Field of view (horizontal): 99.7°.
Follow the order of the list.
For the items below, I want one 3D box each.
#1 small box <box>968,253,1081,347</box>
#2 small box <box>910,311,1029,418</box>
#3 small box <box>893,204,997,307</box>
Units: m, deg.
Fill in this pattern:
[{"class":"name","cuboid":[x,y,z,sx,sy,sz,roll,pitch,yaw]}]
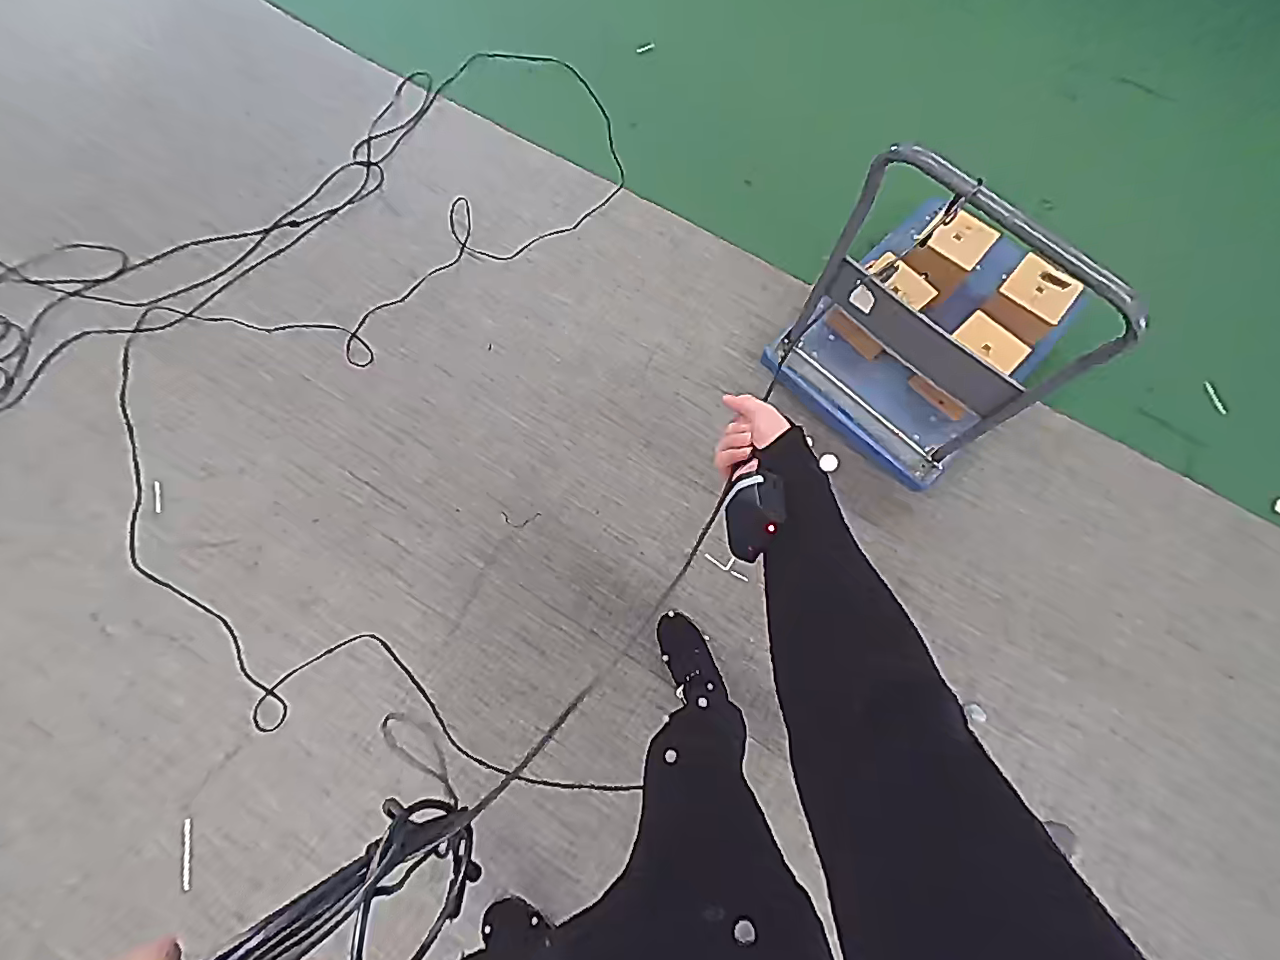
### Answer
[{"class":"small box","cuboid":[1.048,-0.476,1.494,0.168,0.176,0.179,40,74,12]},{"class":"small box","cuboid":[0.856,-0.299,1.425,0.179,0.176,0.168,-42,77,-15]},{"class":"small box","cuboid":[0.859,-0.635,1.545,0.168,0.176,0.179,41,74,11]}]
